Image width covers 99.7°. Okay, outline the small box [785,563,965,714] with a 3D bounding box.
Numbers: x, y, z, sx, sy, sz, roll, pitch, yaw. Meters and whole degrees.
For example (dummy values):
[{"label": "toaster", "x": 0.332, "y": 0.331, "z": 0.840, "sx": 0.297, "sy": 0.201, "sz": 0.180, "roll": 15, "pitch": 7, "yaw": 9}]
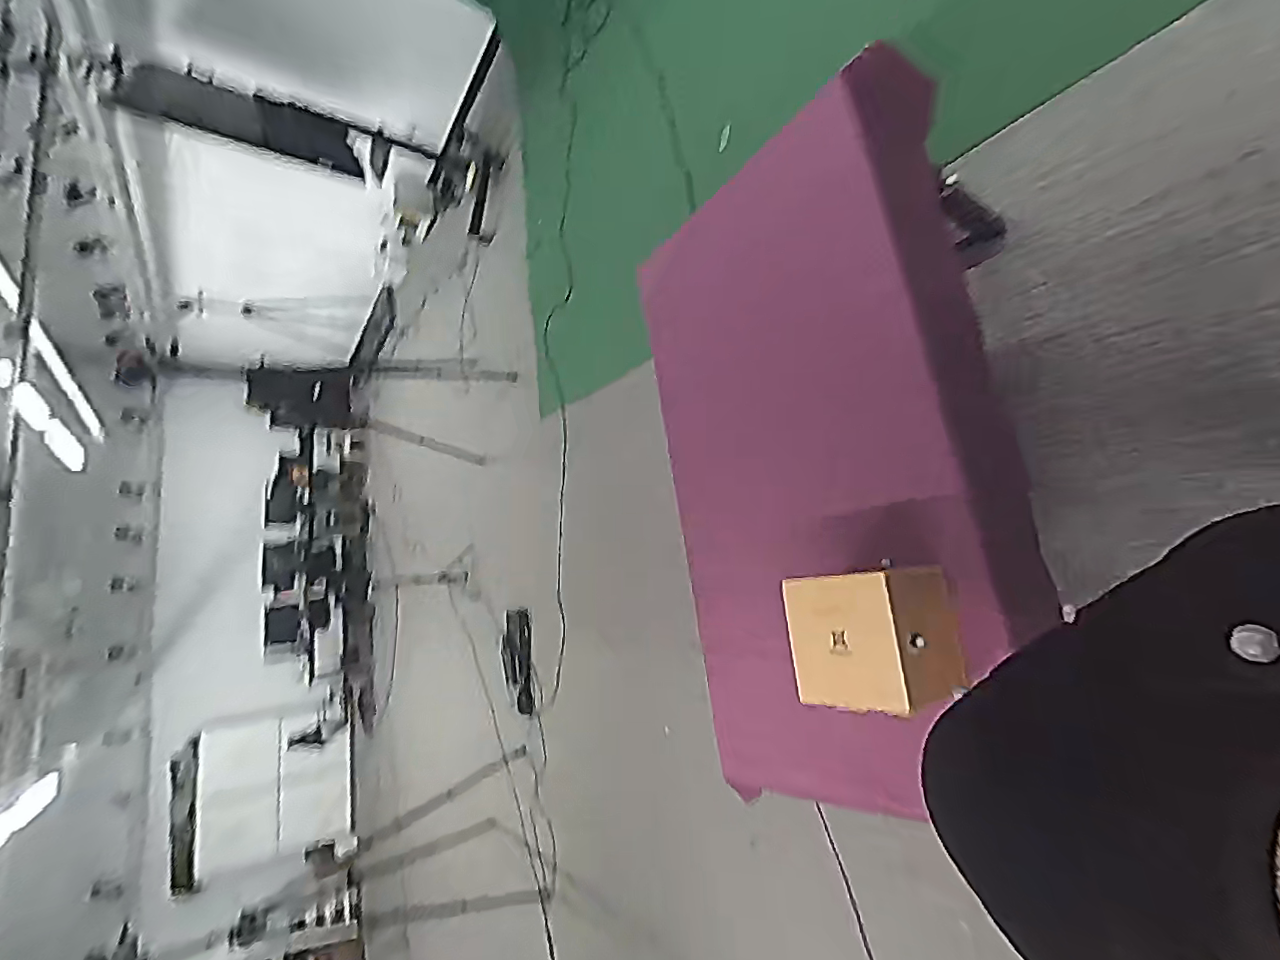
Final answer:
[{"label": "small box", "x": 0.340, "y": 0.220, "z": 0.784, "sx": 0.168, "sy": 0.176, "sz": 0.179, "roll": -20, "pitch": 73, "yaw": 50}]
